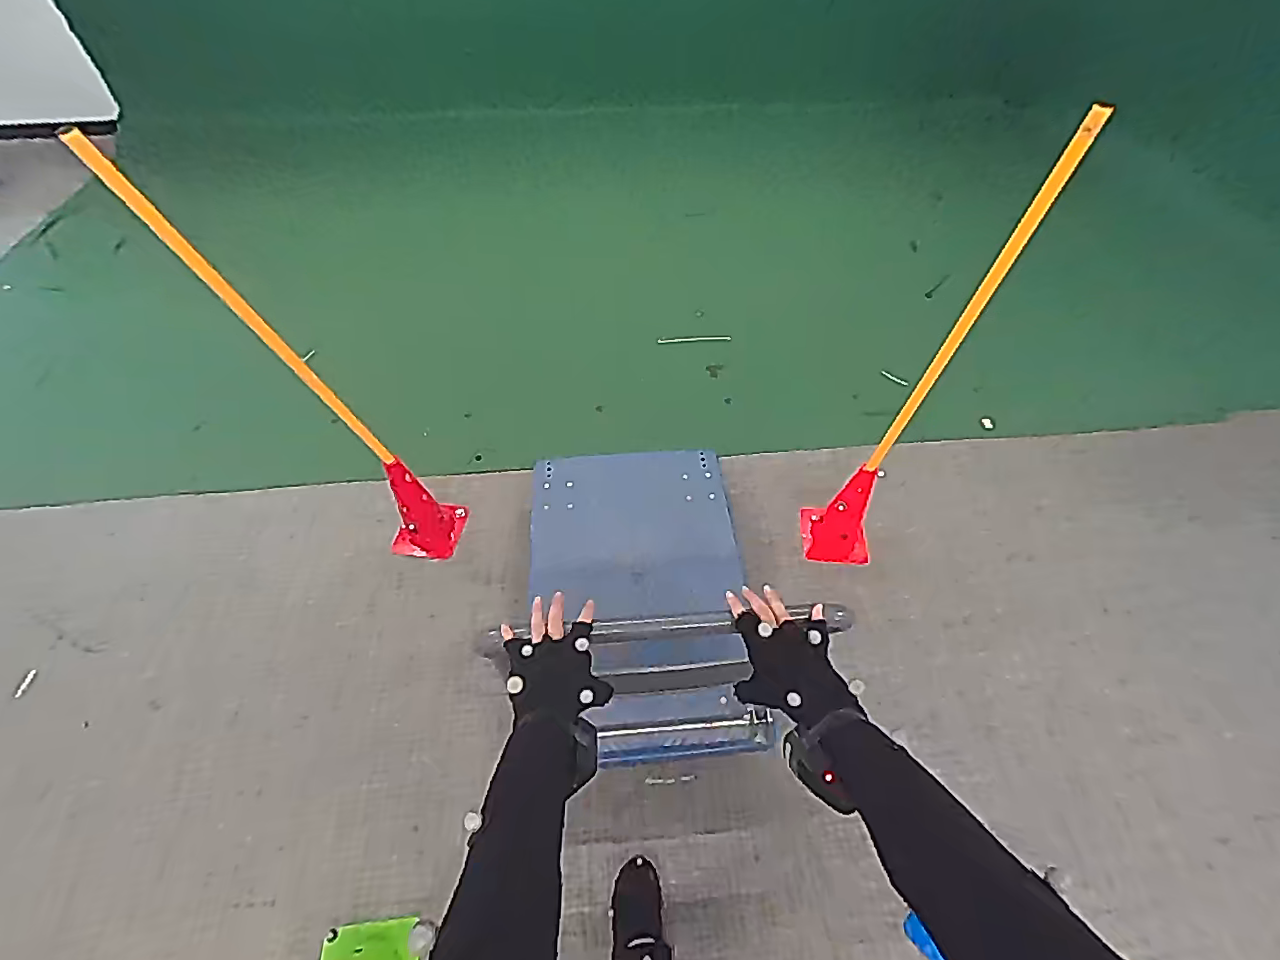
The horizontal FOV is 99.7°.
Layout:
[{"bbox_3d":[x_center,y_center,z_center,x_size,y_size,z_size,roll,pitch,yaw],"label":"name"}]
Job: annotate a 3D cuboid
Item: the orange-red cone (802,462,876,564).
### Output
[{"bbox_3d":[0.619,0.073,1.592,0.198,0.360,0.199,5,54,4],"label":"orange-red cone"}]
